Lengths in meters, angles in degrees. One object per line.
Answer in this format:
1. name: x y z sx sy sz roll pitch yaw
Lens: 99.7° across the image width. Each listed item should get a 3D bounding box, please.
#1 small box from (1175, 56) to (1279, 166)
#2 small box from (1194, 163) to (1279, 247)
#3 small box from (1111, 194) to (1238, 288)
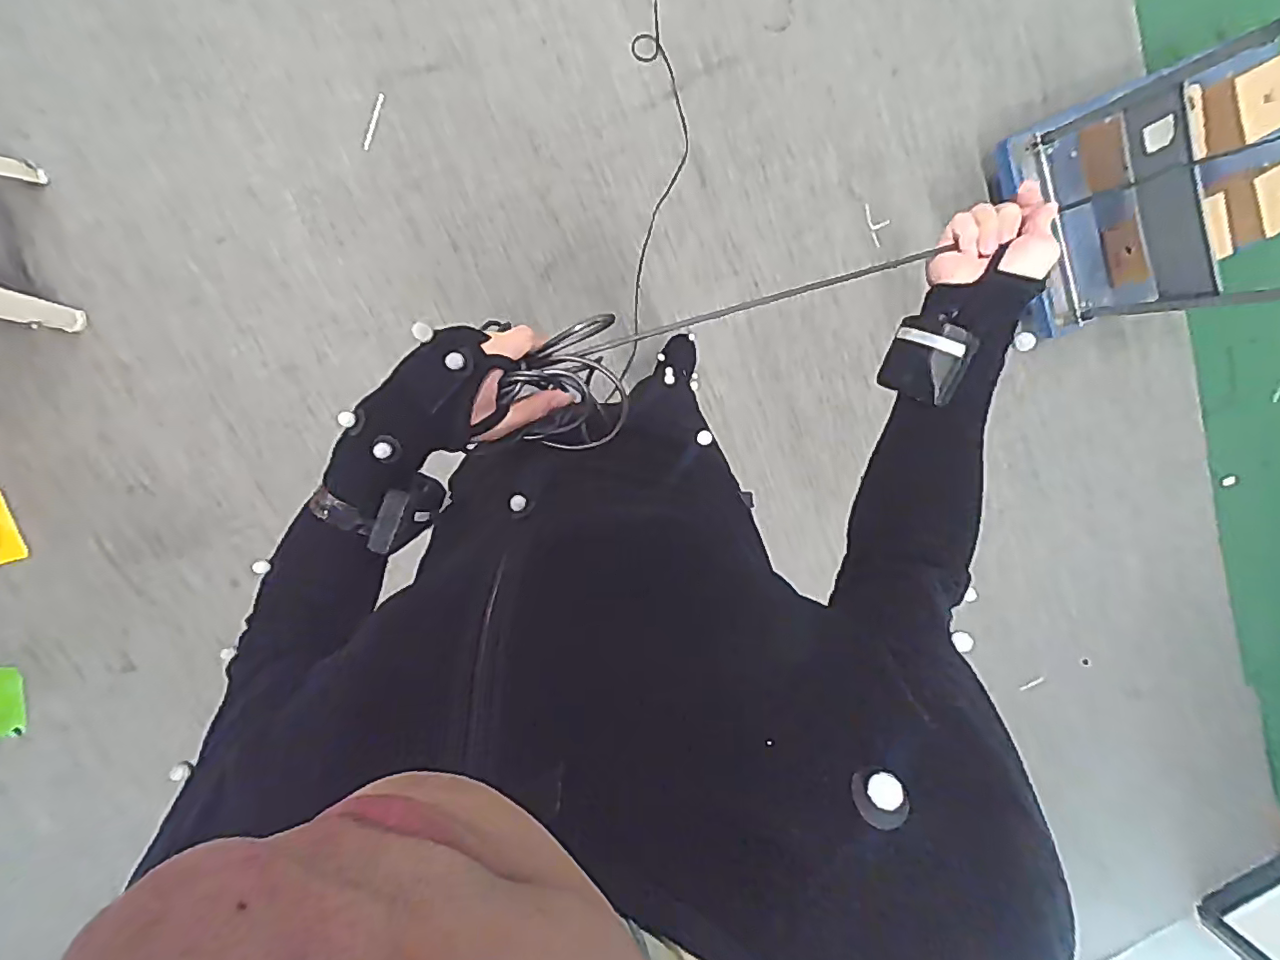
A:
1. small box: 1.575 -0.971 1.429 0.179 0.176 0.168 -28 103 -2
2. small box: 1.691 -0.754 1.483 0.179 0.176 0.168 -28 102 -1
3. small box: 1.446 -0.642 1.469 0.179 0.176 0.168 -23 102 -3
